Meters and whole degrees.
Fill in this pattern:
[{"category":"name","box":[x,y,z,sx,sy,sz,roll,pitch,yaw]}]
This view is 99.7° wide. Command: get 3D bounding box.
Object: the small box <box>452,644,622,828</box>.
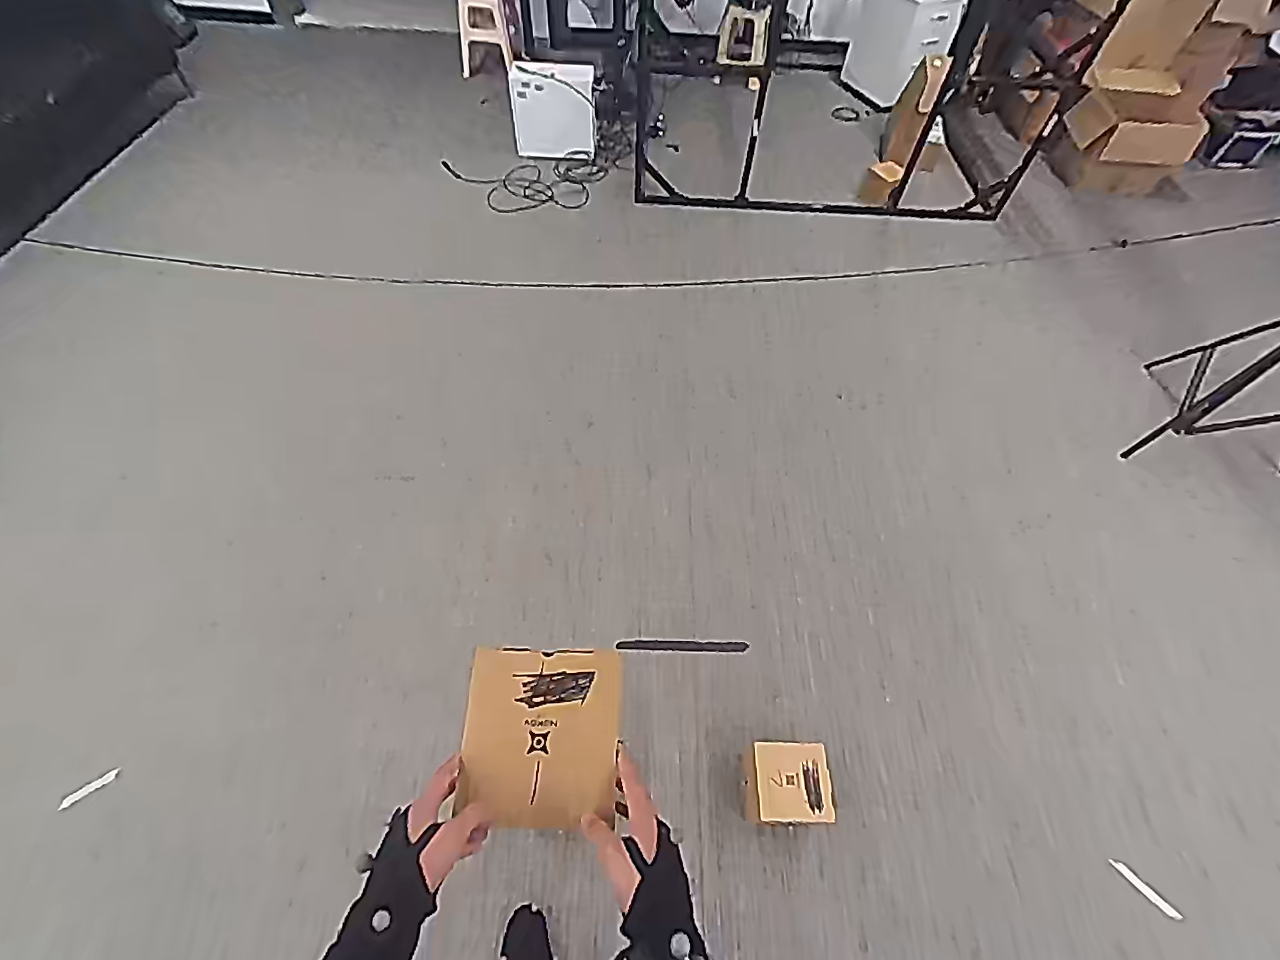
[{"category":"small box","box":[-0.108,0.304,0.649,0.168,0.176,0.179,2,64,-1]}]
